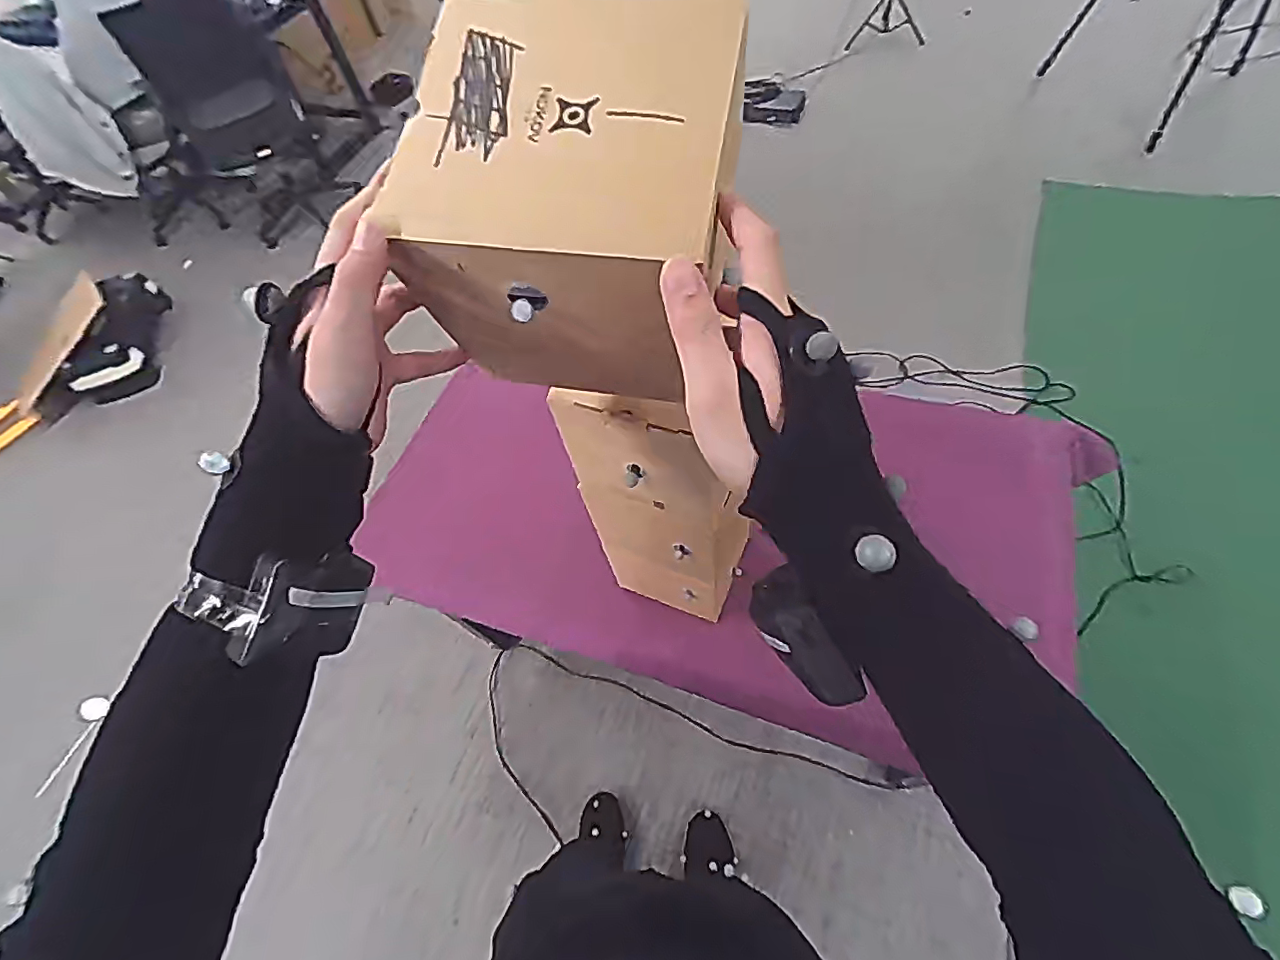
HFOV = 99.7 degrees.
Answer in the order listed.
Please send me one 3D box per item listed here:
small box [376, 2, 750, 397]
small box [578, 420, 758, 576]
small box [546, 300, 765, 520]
[{"bbox_3d":[-0.029,-0.169,0.363,0.179,0.176,0.168,9,76,10],"label":"small box"},{"bbox_3d":[0.045,0.010,0.721,0.179,0.176,0.168,17,62,18],"label":"small box"},{"bbox_3d":[0.028,-0.081,0.587,0.168,0.176,0.179,18,63,18],"label":"small box"}]
